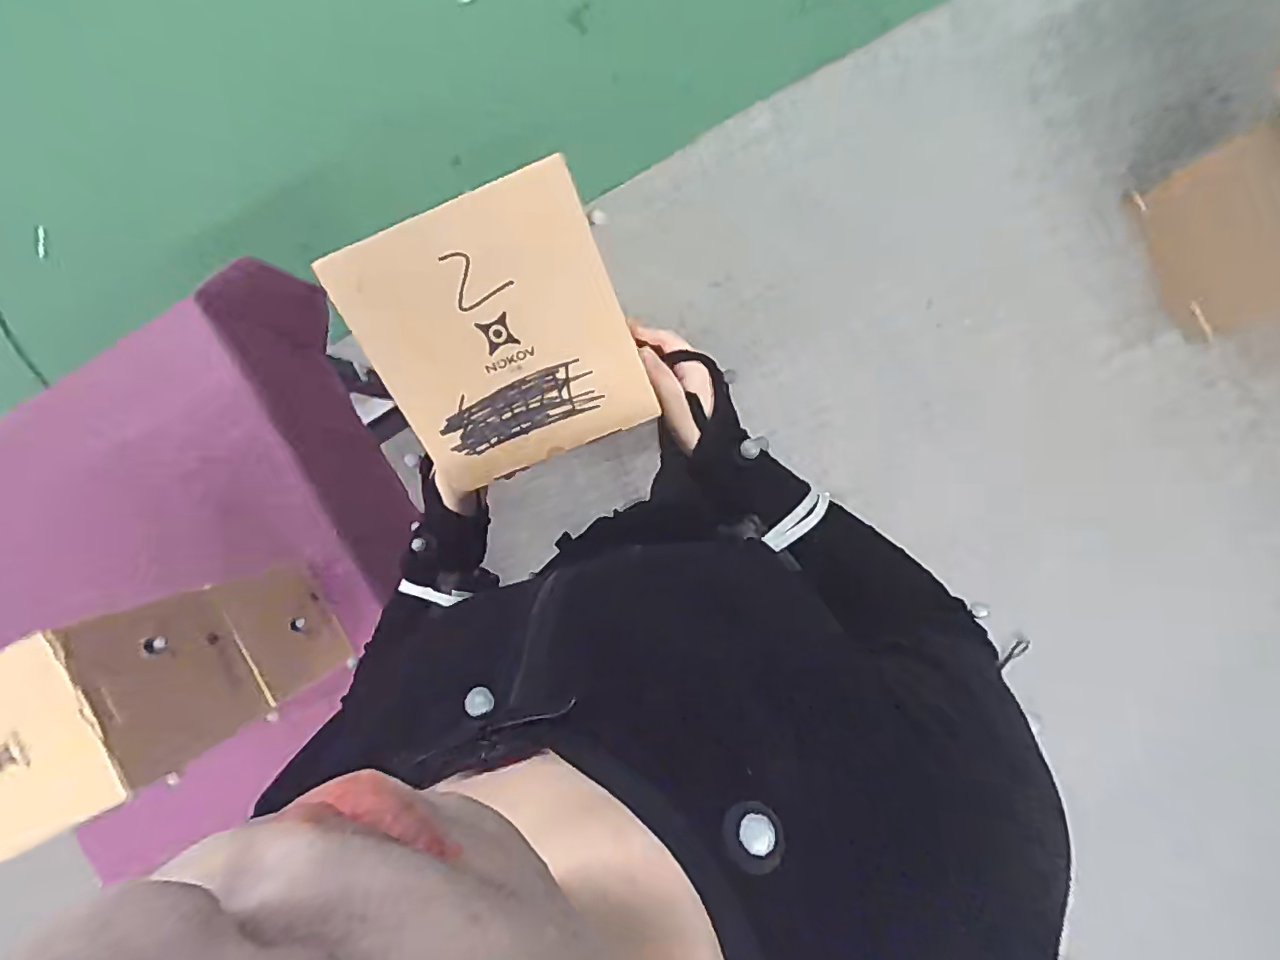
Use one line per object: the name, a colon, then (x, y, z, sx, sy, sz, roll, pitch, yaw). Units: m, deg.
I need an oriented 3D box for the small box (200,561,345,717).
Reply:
small box: (-0.533, 0.226, 0.722, 0.179, 0.176, 0.168, -29, 89, 4)

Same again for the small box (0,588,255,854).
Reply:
small box: (-0.548, 0.232, 0.559, 0.179, 0.176, 0.168, -27, 89, 5)
